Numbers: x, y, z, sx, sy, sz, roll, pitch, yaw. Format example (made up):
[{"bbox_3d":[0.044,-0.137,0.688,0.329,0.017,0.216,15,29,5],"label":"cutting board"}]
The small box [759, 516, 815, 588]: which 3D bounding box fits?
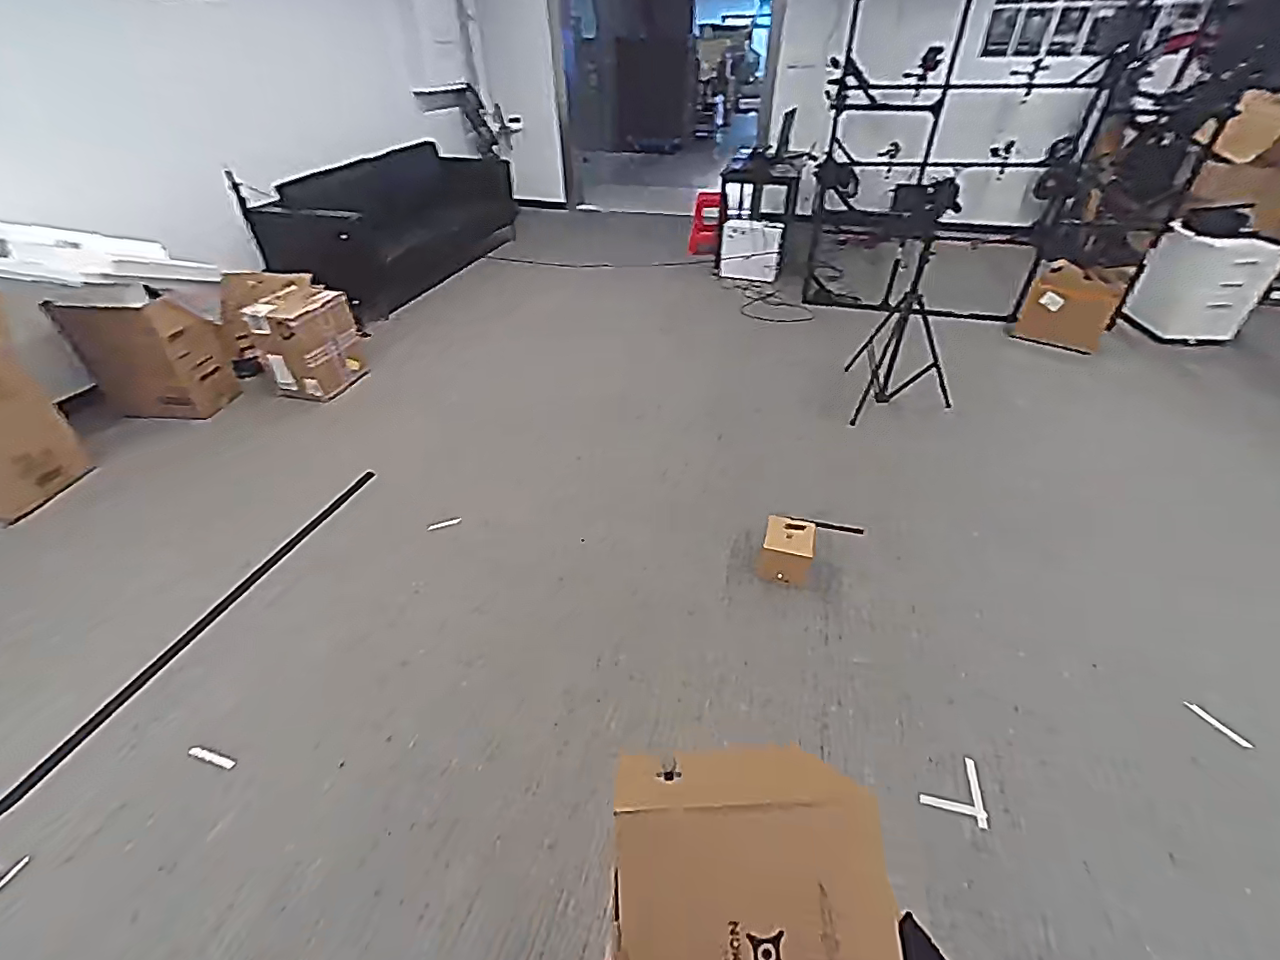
[{"bbox_3d":[0.536,0.264,1.979,0.168,0.176,0.179,11,41,15],"label":"small box"}]
